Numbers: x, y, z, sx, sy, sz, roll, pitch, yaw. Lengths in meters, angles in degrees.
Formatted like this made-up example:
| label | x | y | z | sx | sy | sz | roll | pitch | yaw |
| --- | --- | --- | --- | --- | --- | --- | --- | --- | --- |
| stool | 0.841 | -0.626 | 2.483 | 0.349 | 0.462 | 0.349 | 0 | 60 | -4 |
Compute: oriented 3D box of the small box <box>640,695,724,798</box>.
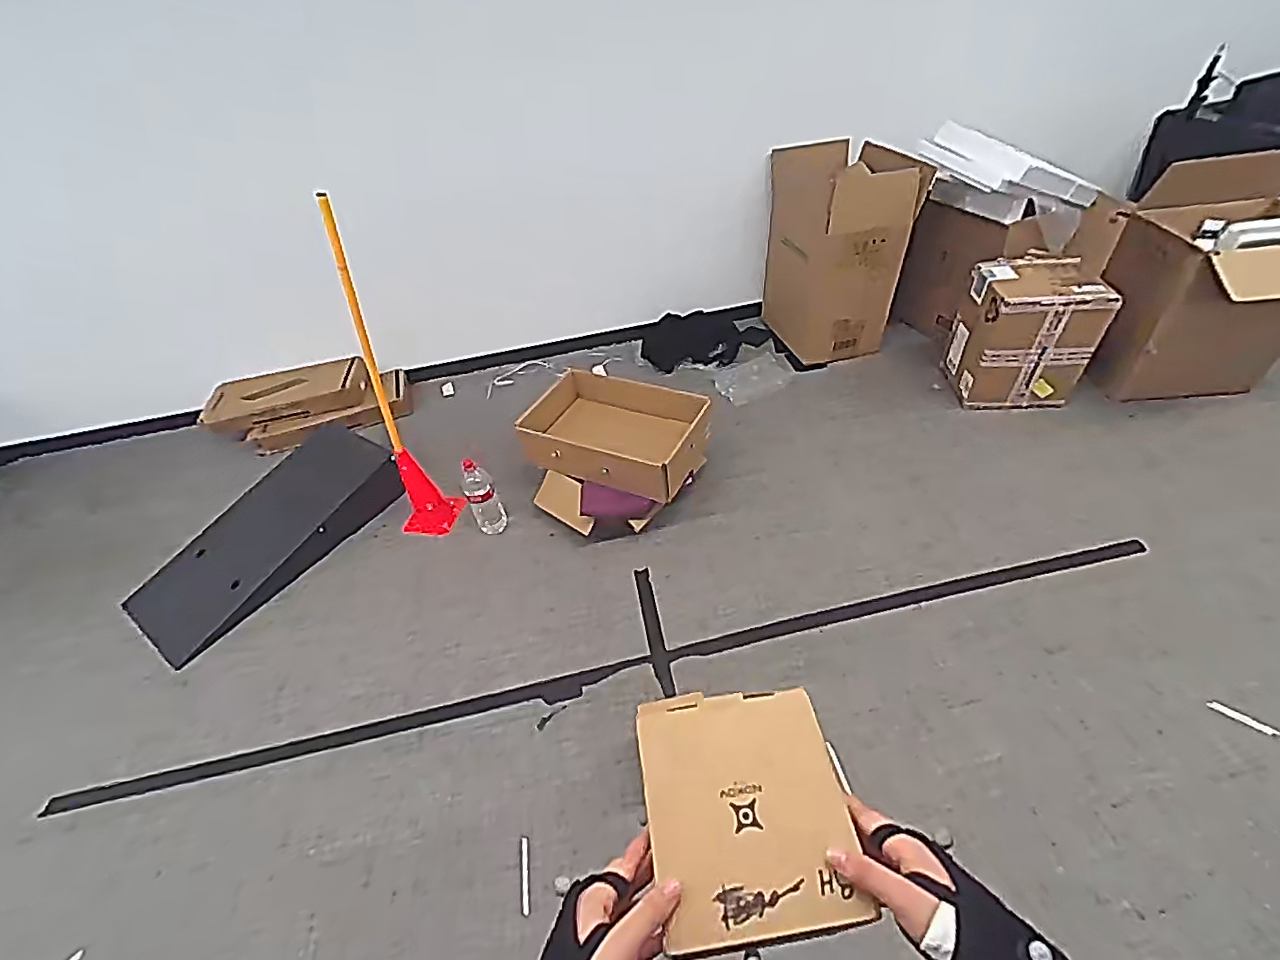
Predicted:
| label | x | y | z | sx | sy | sz | roll | pitch | yaw |
| --- | --- | --- | --- | --- | --- | --- | --- | --- | --- |
| small box | 0.107 | 0.674 | 1.368 | 0.179 | 0.176 | 0.168 | -13 | 42 | -3 |
